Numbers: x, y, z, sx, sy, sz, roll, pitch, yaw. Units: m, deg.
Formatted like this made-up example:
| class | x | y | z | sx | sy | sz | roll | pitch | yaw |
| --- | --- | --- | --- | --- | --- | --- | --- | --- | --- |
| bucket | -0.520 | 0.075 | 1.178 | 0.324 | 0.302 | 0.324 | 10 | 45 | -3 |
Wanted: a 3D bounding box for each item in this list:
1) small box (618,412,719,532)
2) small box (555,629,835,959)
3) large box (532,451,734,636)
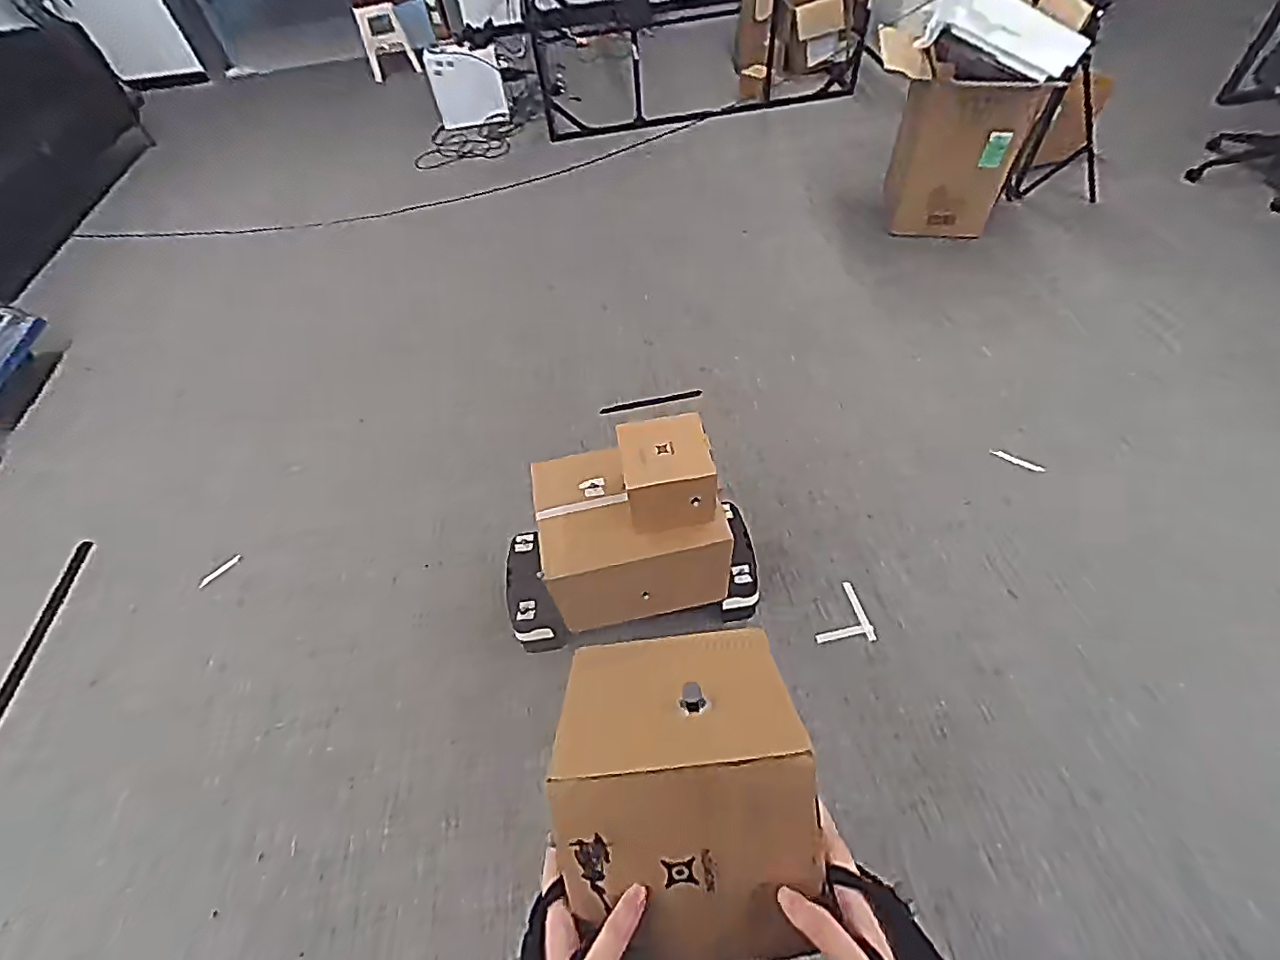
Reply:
| class | x | y | z | sx | sy | sz | roll | pitch | yaw |
| --- | --- | --- | --- | --- | --- | --- | --- | --- | --- |
| small box | 0.057 | -0.012 | 1.107 | 0.179 | 0.176 | 0.168 | -10 | 54 | -1 |
| small box | 0.039 | 0.236 | 0.436 | 0.179 | 0.168 | 0.176 | -7 | 11 | 2 |
| large box | -0.015 | 0.140 | 1.309 | 0.408 | 0.320 | 0.320 | -13 | 53 | -3 |
